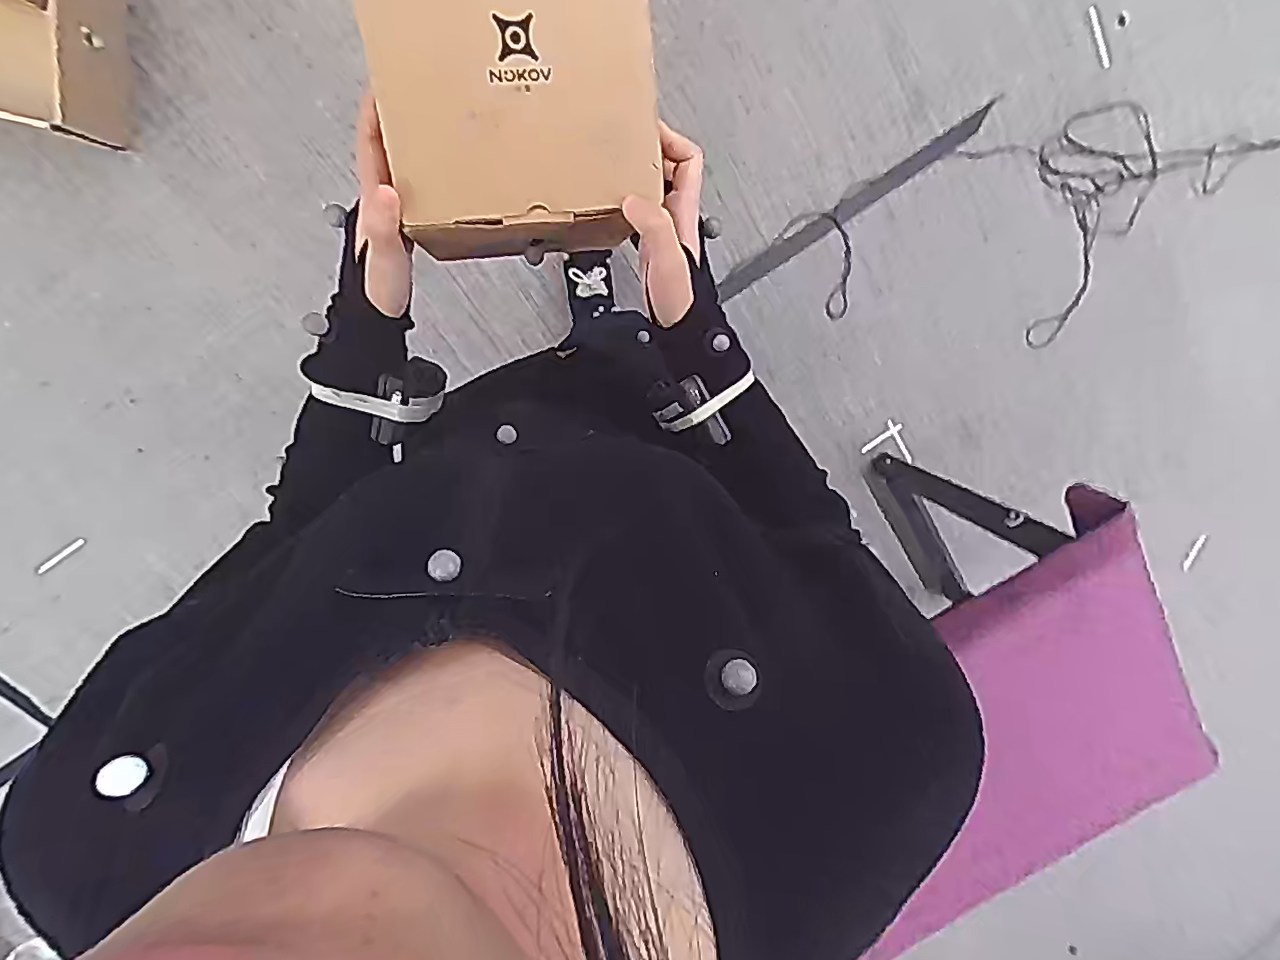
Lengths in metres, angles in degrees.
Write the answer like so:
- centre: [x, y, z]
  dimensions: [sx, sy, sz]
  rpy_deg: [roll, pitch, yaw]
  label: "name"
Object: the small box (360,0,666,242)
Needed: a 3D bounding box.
- centre: [-0.087, -0.273, 0.384]
  dimensions: [0.168, 0.176, 0.179]
  rpy_deg: [-10, 108, -12]
  label: "small box"
